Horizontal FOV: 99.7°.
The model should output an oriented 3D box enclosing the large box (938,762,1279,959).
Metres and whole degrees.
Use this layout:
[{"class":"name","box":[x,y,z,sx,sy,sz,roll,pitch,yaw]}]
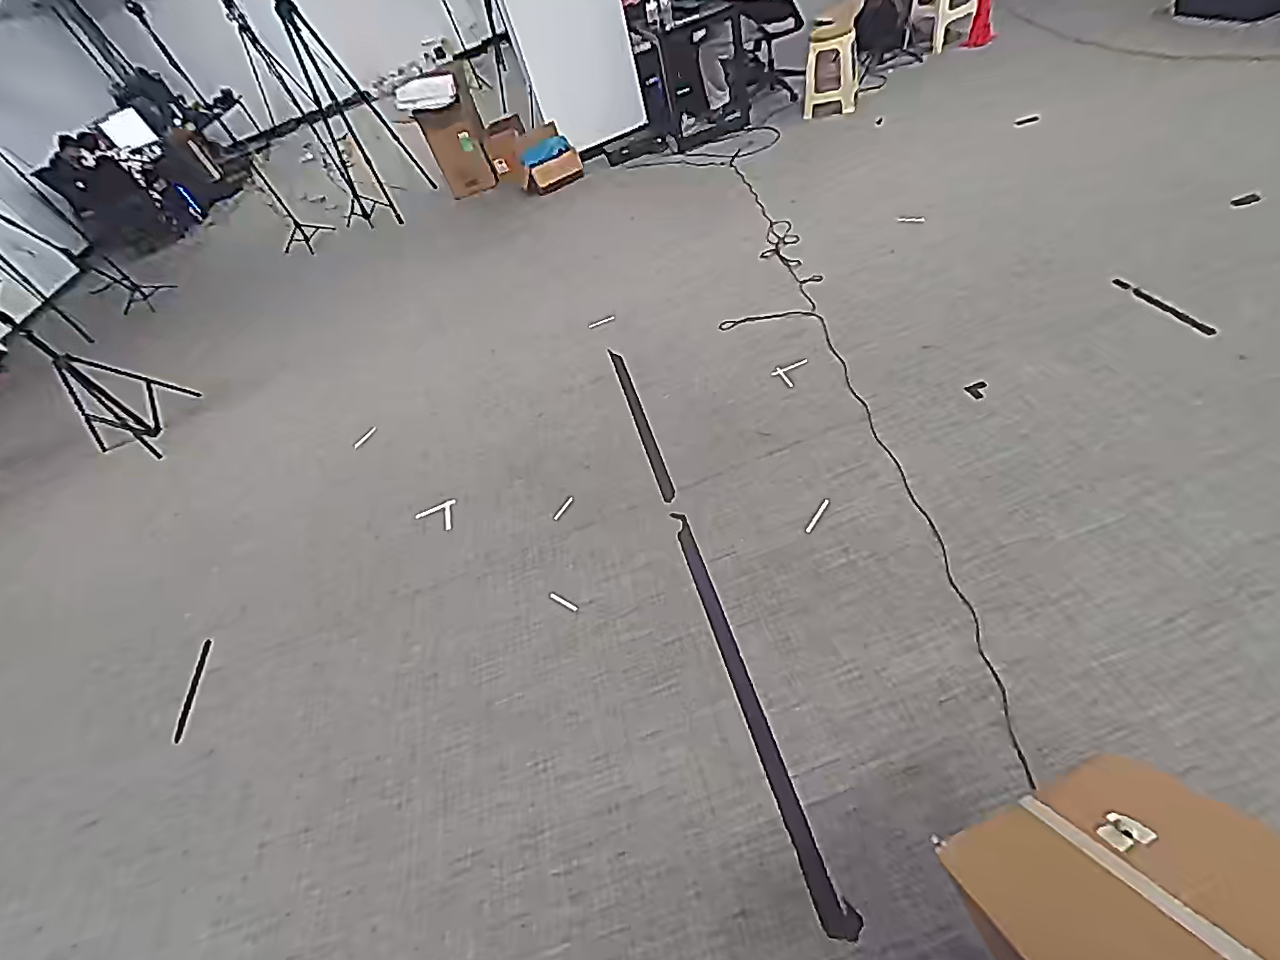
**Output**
[{"class":"large box","box":[0.643,0.604,0.600,0.320,0.408,0.320,-27,83,-1]}]
